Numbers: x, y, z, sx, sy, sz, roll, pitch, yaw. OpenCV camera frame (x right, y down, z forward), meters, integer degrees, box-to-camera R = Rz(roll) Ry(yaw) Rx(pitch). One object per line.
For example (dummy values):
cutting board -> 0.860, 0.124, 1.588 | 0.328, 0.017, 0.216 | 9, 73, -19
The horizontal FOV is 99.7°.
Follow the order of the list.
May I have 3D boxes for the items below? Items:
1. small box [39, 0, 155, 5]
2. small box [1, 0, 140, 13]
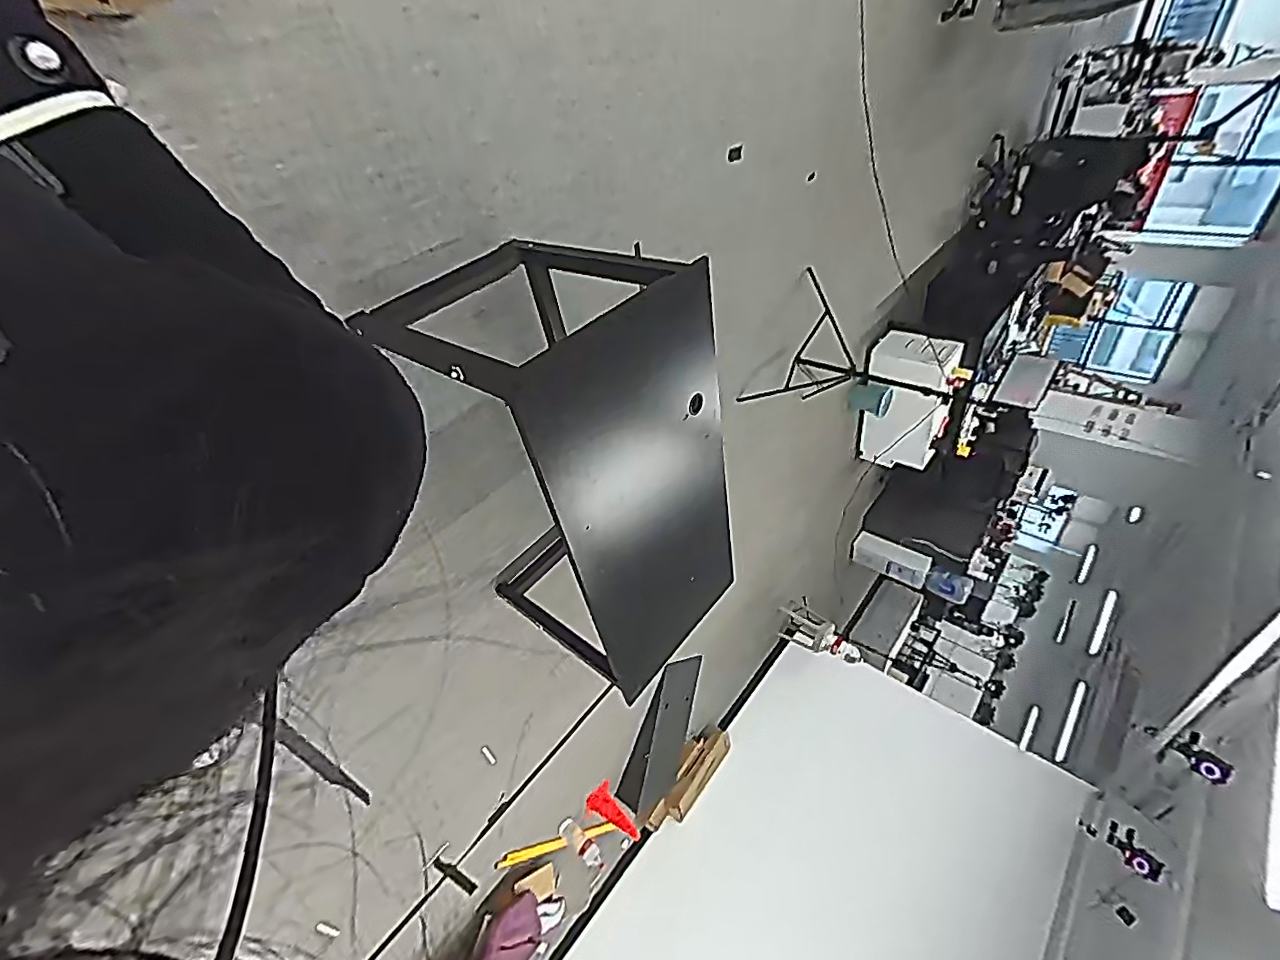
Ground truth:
small box -> -0.786, -0.770, 0.733 | 0.168, 0.176, 0.179 | -39, 136, -35
small box -> -0.907, -0.835, 0.824 | 0.179, 0.176, 0.168 | -34, 134, -36
